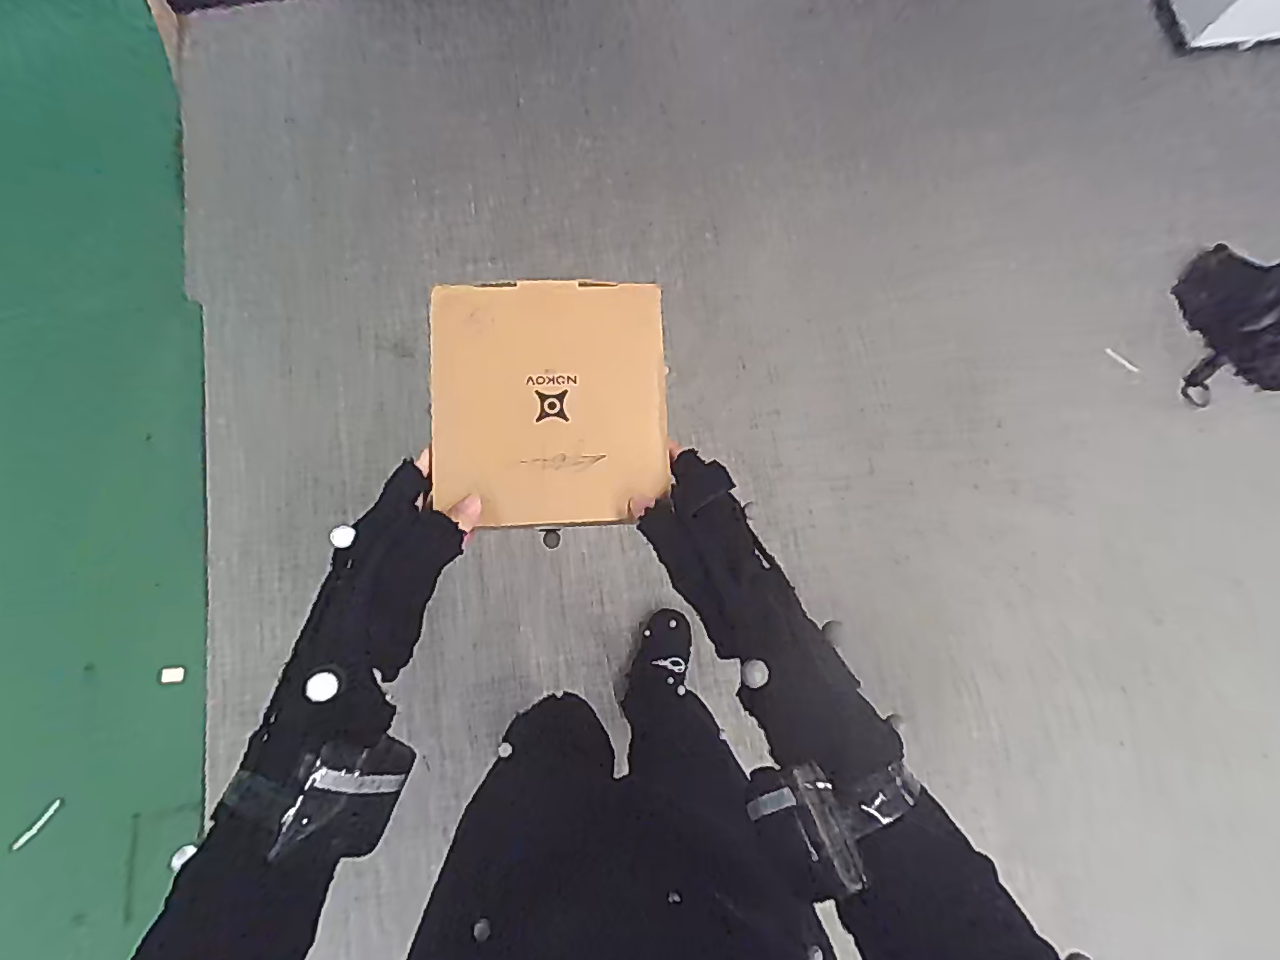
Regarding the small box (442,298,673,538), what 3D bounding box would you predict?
[{"bbox_3d":[-0.069,-0.041,0.478,0.168,0.176,0.179,-4,85,-6],"label":"small box"}]
